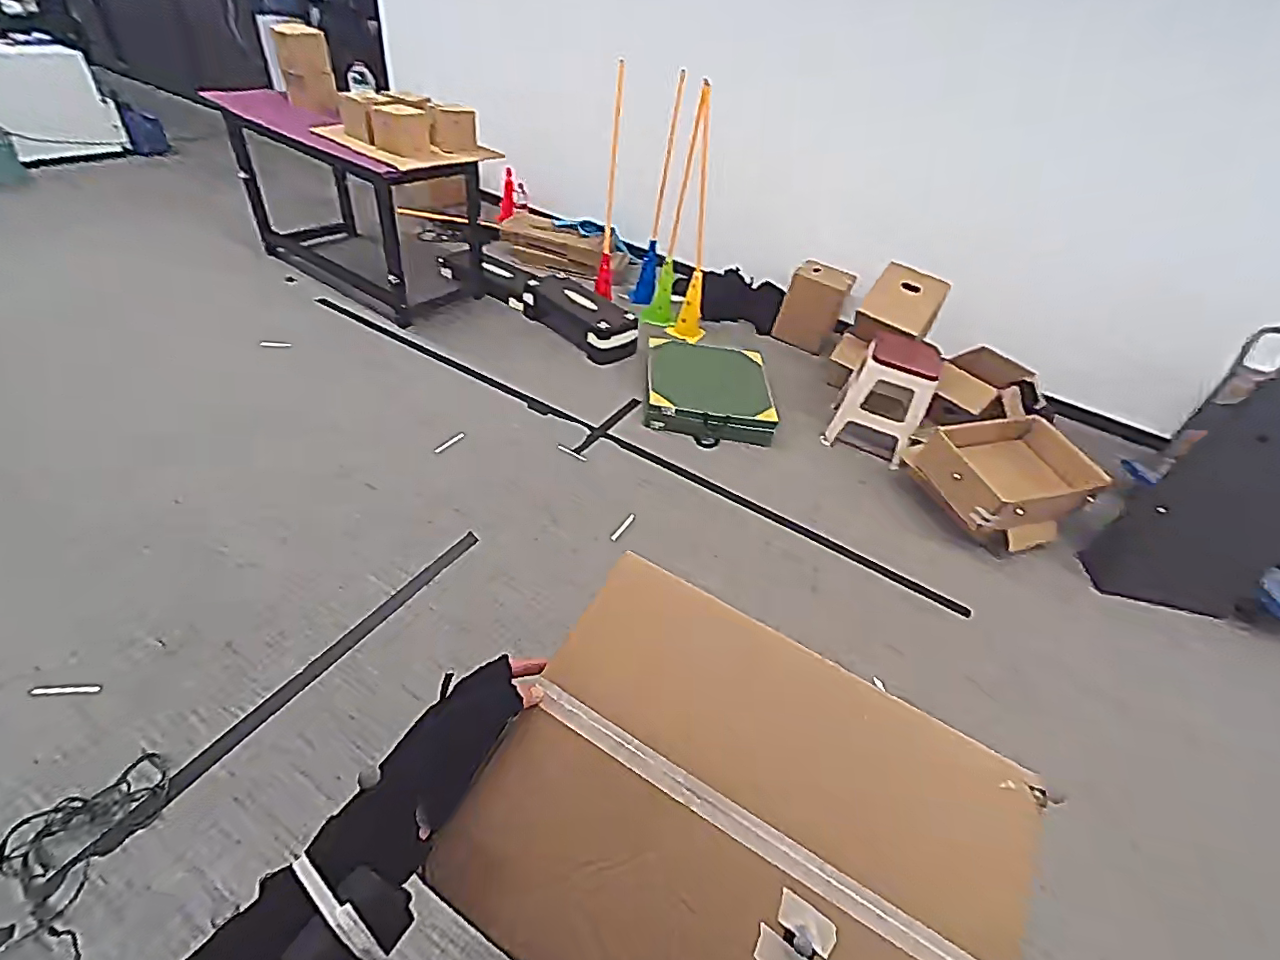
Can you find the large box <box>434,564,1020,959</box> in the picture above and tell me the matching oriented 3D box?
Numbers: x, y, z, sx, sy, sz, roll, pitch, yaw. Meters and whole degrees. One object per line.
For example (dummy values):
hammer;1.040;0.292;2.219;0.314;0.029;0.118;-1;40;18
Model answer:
large box;0.077;0.359;0.567;0.408;0.320;0.320;27;61;15
